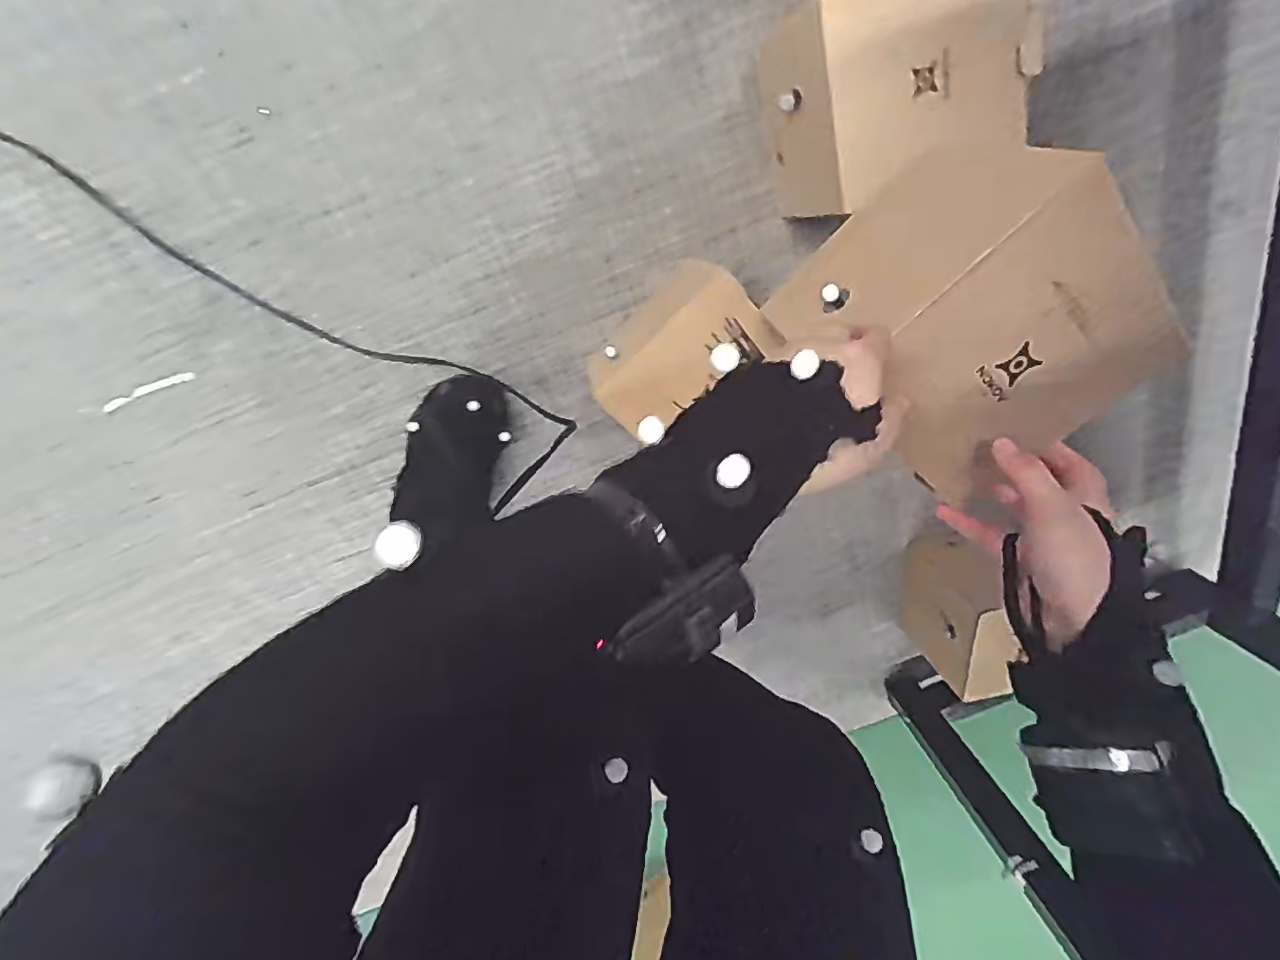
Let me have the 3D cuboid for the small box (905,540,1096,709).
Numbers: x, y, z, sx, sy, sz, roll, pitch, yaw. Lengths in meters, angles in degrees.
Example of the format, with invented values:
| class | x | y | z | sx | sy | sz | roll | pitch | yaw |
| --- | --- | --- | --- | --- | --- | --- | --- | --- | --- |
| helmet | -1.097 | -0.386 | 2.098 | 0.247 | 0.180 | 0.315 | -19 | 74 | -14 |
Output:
| class | x | y | z | sx | sy | sz | roll | pitch | yaw |
| --- | --- | --- | --- | --- | --- | --- | --- | --- | --- |
| small box | 0.528 | 0.207 | 0.821 | 0.168 | 0.176 | 0.179 | -10 | 117 | -3 |

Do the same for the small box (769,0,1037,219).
| class | x | y | z | sx | sy | sz | roll | pitch | yaw |
| --- | --- | --- | --- | --- | --- | --- | --- | --- | --- |
| small box | 0.237 | -0.363 | 0.523 | 0.179 | 0.176 | 0.168 | -18 | 115 | 0 |
